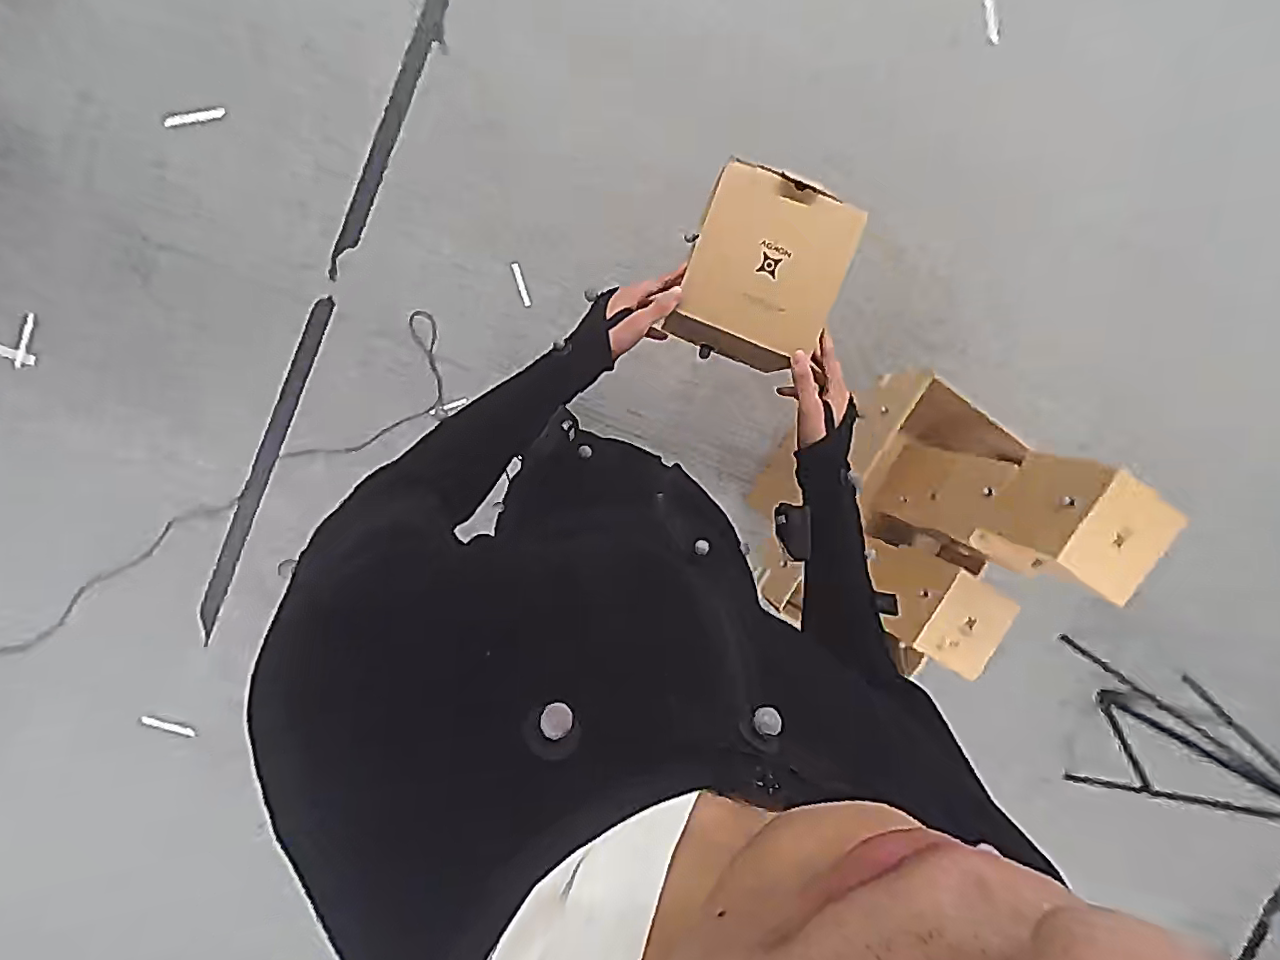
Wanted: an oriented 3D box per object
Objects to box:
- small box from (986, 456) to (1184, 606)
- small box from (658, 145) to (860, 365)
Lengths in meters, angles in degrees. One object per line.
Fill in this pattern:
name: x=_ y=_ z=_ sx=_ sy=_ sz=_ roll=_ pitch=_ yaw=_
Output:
small box: x=0.743 y=0.078 z=0.927 sx=0.168 sy=0.176 sz=0.179 roll=31 pitch=95 yaw=-13
small box: x=0.127 y=-0.253 z=0.657 sx=0.168 sy=0.176 sz=0.179 roll=20 pitch=97 yaw=-5
